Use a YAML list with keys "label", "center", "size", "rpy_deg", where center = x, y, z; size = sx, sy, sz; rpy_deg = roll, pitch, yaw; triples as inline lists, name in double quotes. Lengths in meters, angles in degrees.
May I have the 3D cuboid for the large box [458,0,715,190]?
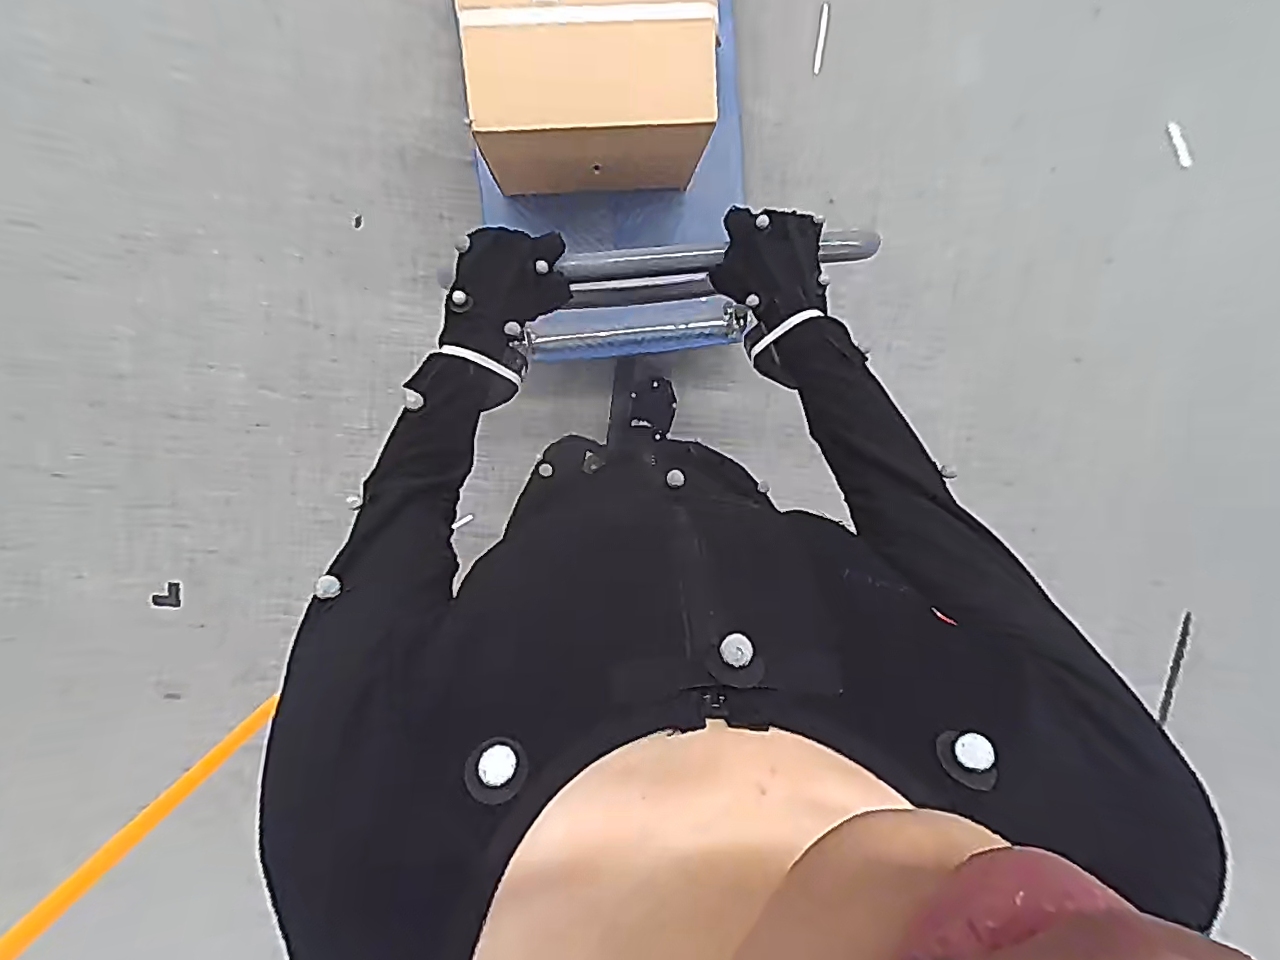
- label: "large box"
  center: [-0.093, -0.758, 1.002]
  size: [0.408, 0.320, 0.320]
  rpy_deg: [-5, 100, -3]
